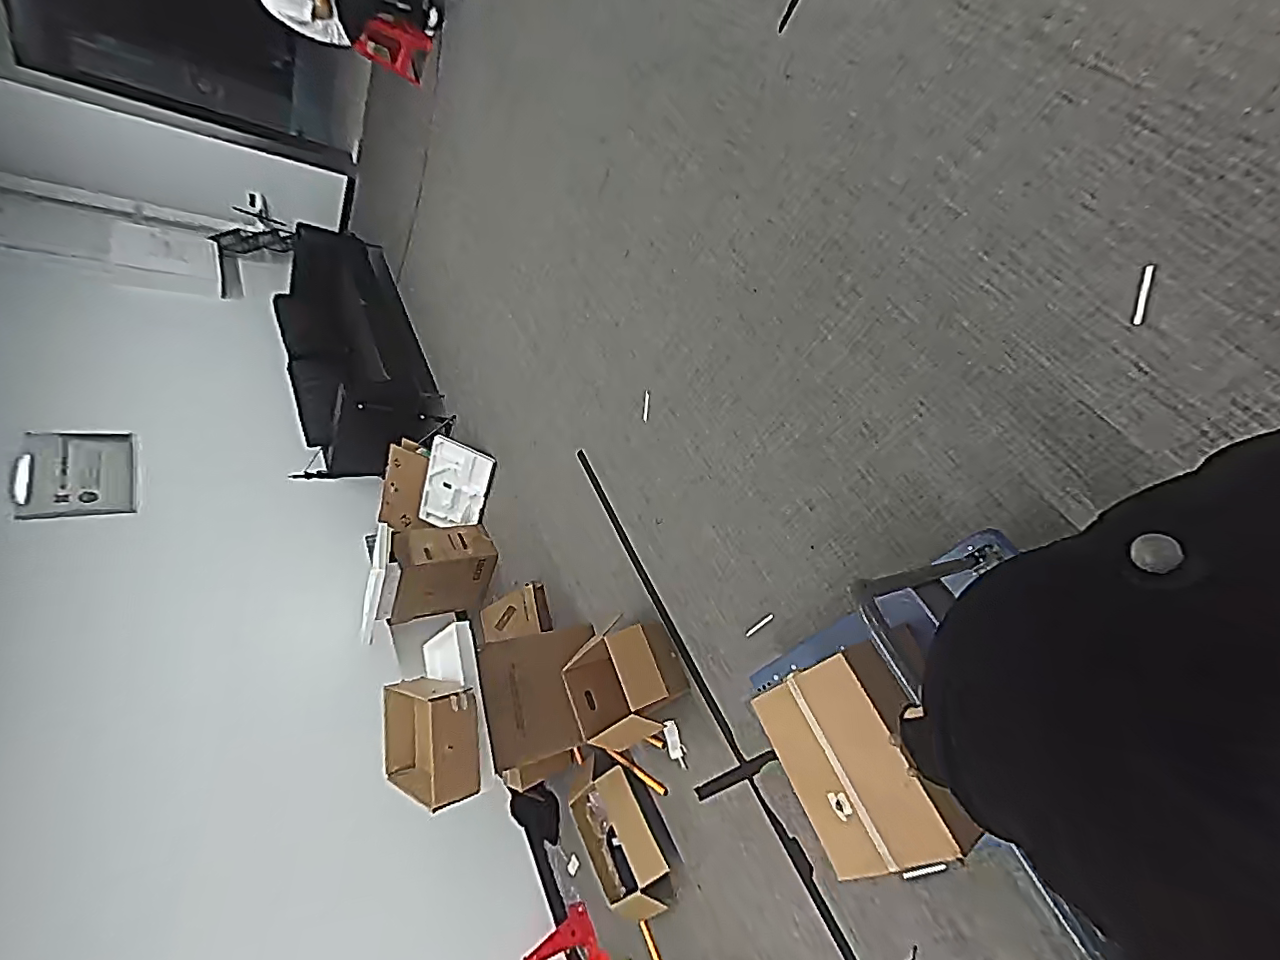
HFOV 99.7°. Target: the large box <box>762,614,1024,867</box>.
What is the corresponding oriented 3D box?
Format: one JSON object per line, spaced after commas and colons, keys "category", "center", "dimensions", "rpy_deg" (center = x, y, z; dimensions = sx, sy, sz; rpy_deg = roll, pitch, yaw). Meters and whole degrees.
{"category": "large box", "center": [0.571, 0.583, 1.257], "dimensions": [0.320, 0.320, 0.408], "rpy_deg": [-51, 56, 40]}
